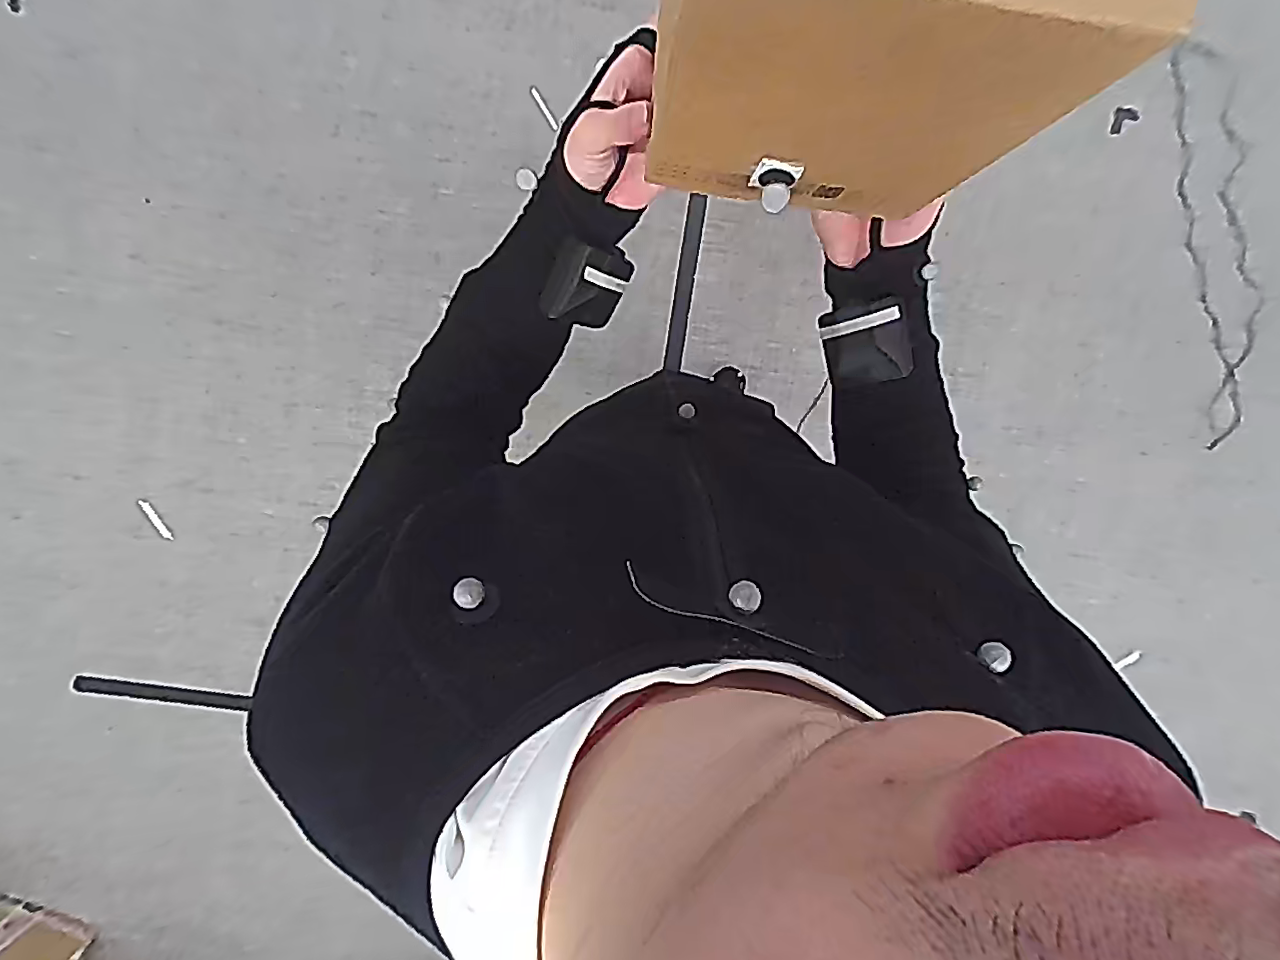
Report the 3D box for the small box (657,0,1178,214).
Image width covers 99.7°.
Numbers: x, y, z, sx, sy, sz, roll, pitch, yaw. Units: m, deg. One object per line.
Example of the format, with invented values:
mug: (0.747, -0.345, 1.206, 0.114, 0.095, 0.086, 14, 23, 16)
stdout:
small box: (0.102, -0.251, 0.249, 0.168, 0.176, 0.179, 4, 97, -5)
